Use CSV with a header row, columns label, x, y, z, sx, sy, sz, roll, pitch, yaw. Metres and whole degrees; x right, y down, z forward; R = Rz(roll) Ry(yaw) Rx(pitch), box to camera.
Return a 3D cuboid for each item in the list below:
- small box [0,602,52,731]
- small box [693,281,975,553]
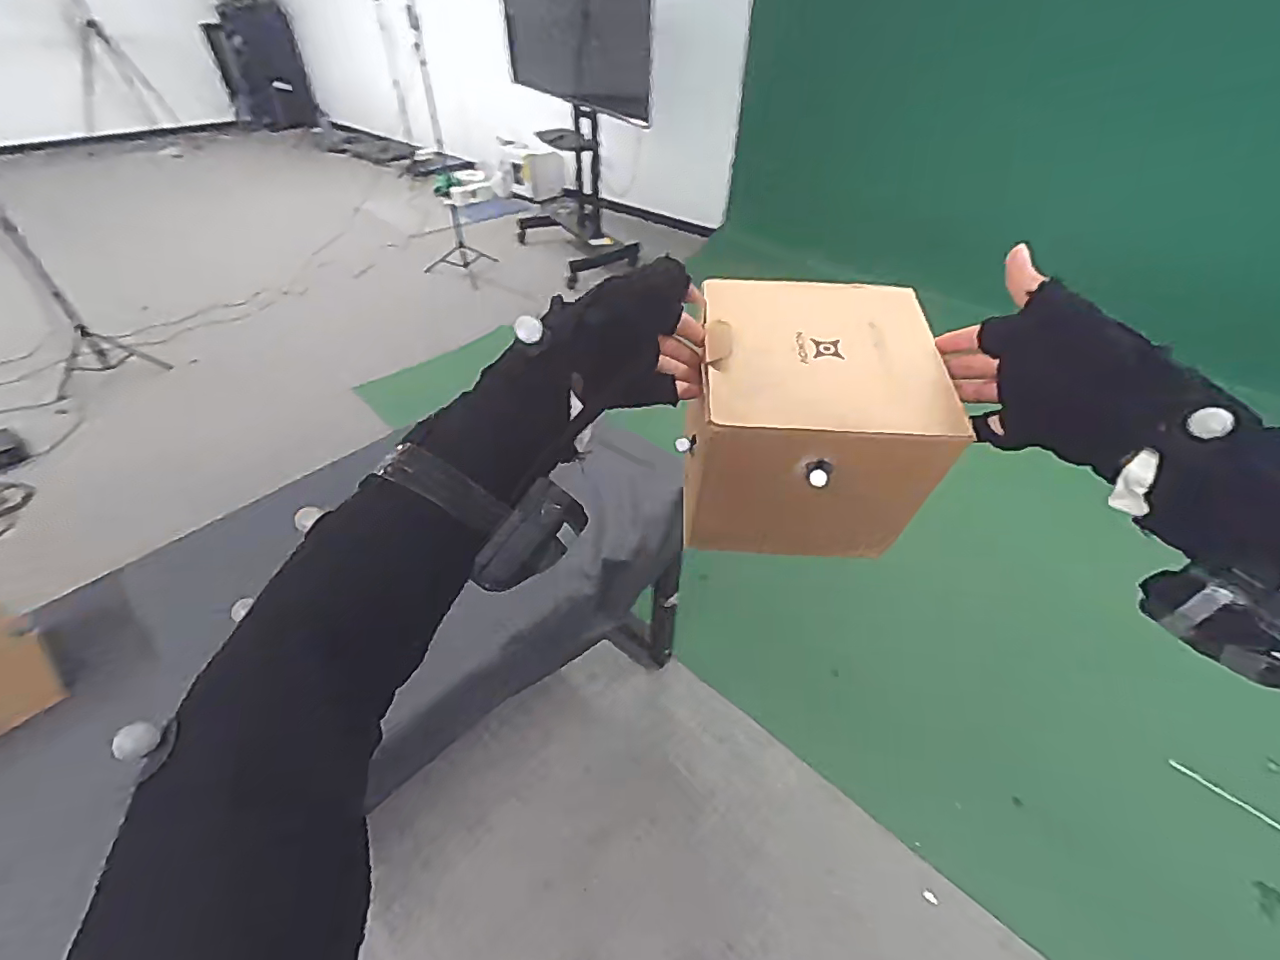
label,x,y,z,sx,sy,sz,roll,pitch,yaw
small box,-0.913,0.244,0.686,0.168,0.176,0.179,31,48,27
small box,0.139,-0.049,0.470,0.179,0.176,0.168,4,54,0
